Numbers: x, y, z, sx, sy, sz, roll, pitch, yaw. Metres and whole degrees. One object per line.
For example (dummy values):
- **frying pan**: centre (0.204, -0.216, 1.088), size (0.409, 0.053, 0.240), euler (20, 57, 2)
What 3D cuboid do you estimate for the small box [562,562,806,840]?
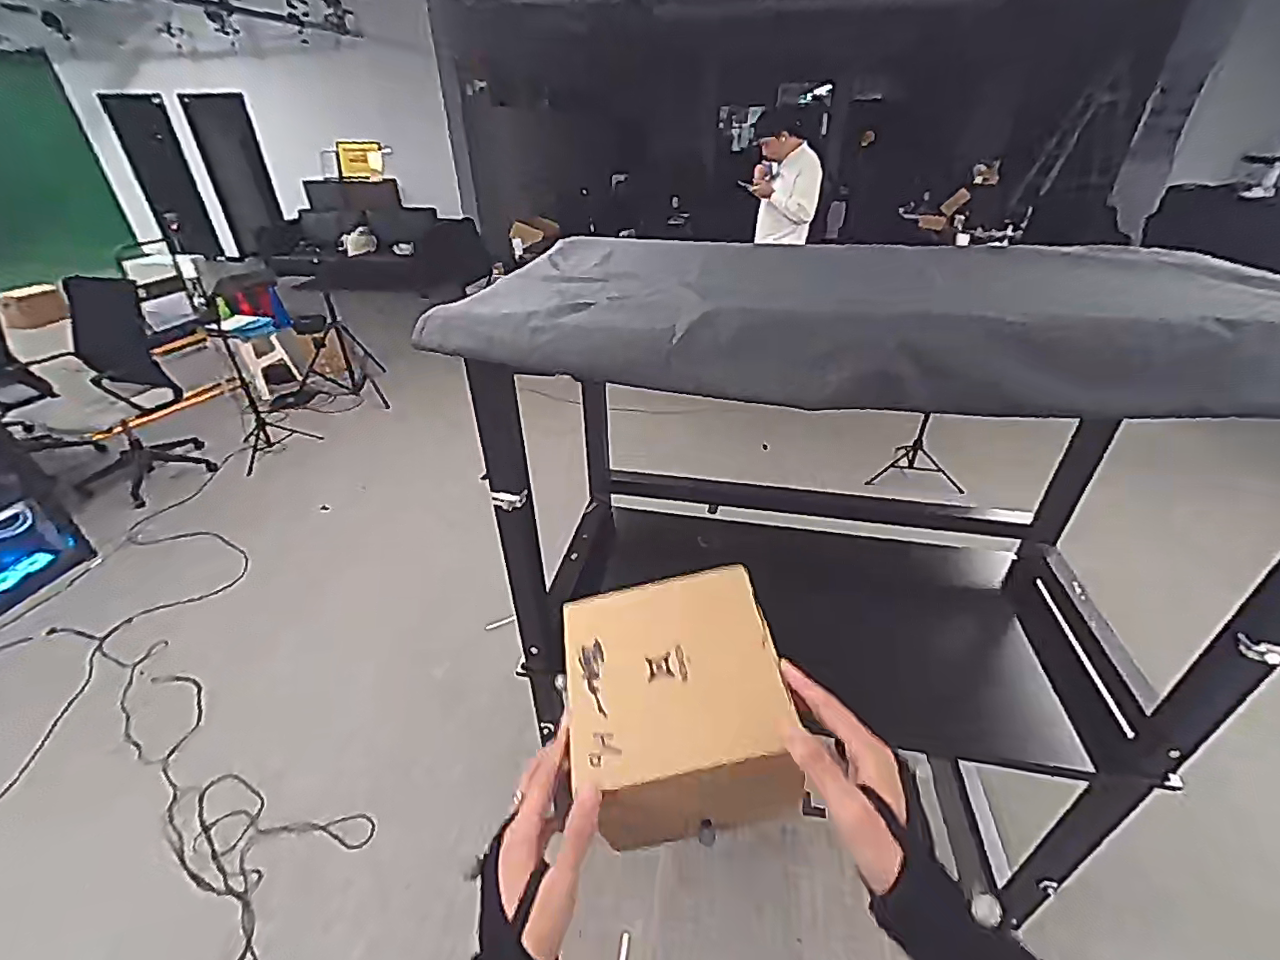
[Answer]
- **small box**: centre (0.034, 0.202, 0.493), size (0.179, 0.176, 0.168), euler (-12, 43, 0)
